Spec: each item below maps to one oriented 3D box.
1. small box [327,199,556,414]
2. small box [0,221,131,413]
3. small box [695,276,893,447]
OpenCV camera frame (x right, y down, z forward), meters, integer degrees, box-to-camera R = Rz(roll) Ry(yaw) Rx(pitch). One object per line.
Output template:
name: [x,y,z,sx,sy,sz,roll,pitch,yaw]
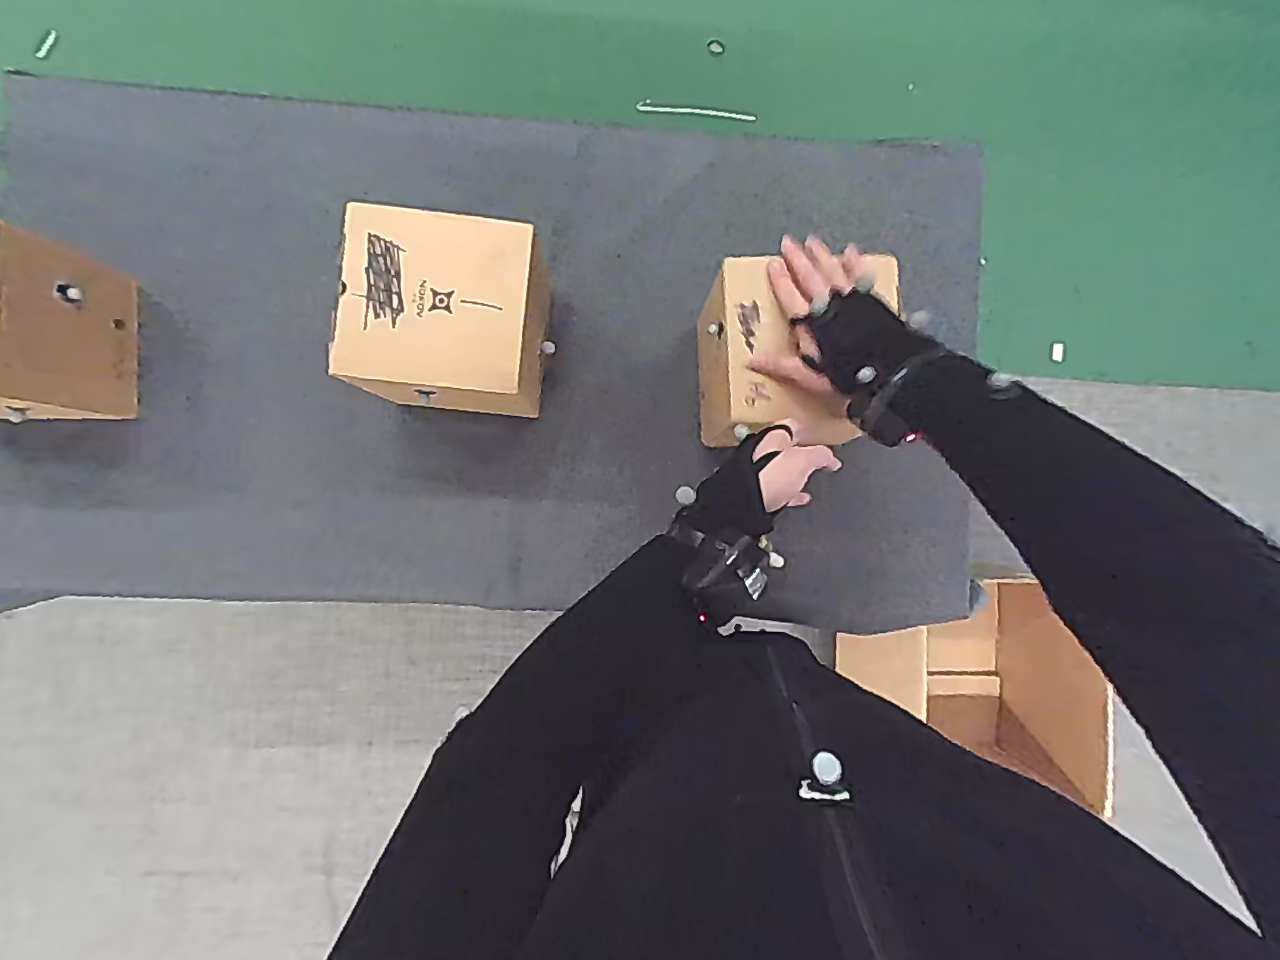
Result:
small box: [-0.197,-0.170,0.586,0.179,0.176,0.168,9,90,-2]
small box: [-0.672,-0.162,0.547,0.179,0.176,0.168,-1,88,-3]
small box: [0.166,-0.126,0.628,0.179,0.176,0.168,-3,91,-2]
